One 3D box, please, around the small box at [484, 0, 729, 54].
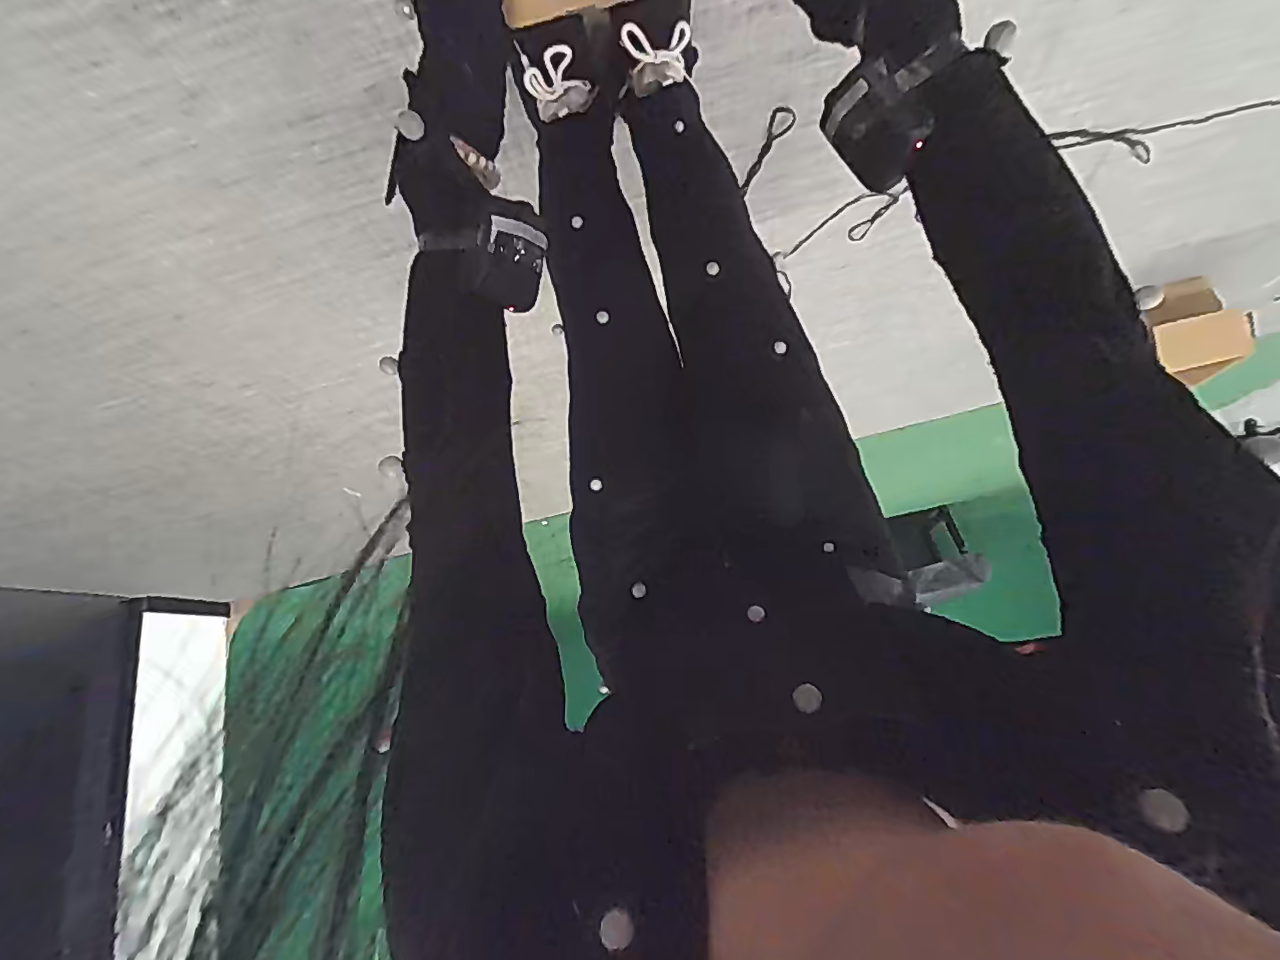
[{"bbox_3d":[-0.042,-0.415,0.327,0.168,0.176,0.179,-13,154,0],"label":"small box"}]
